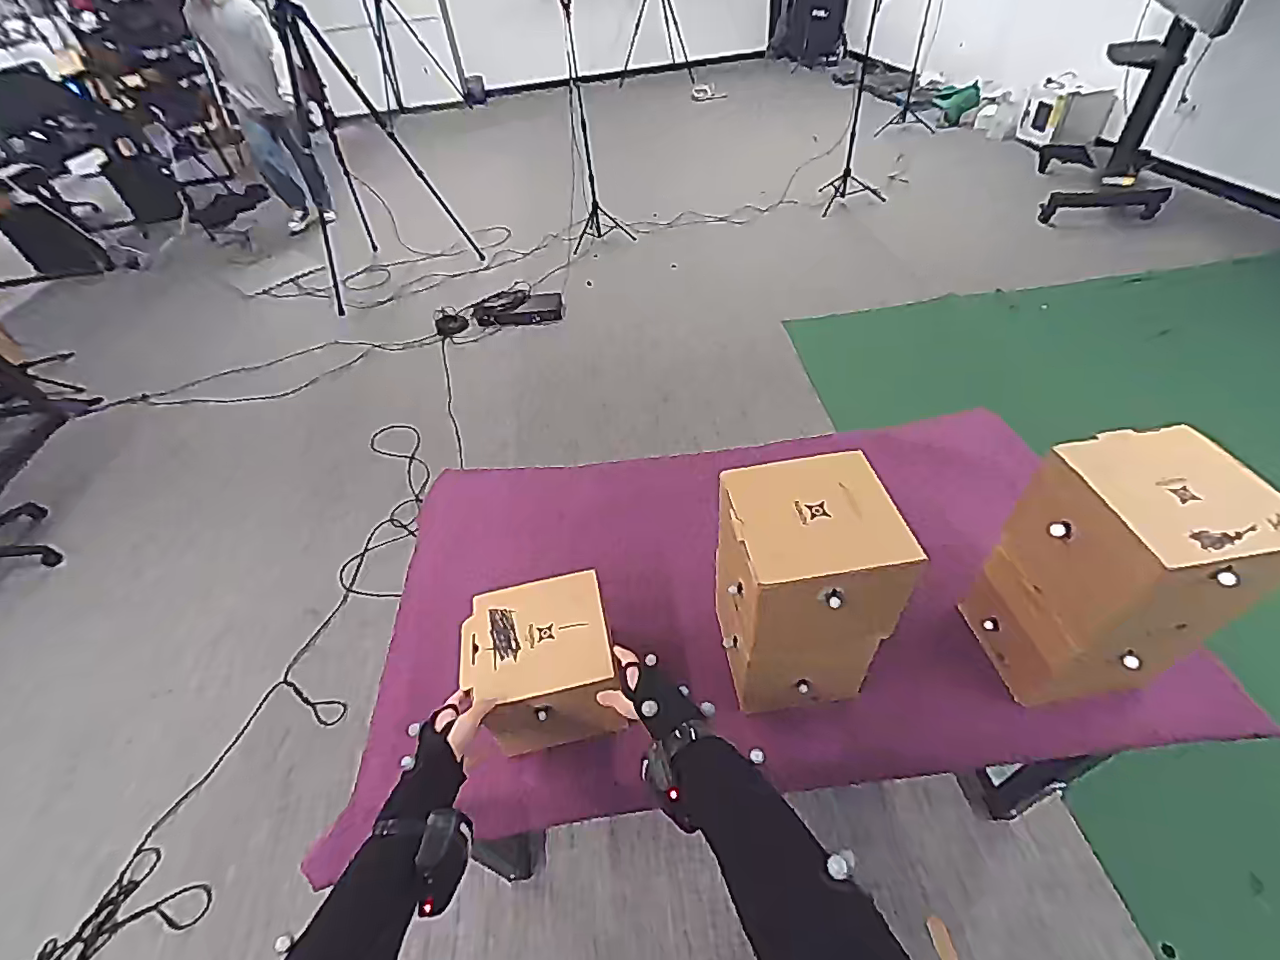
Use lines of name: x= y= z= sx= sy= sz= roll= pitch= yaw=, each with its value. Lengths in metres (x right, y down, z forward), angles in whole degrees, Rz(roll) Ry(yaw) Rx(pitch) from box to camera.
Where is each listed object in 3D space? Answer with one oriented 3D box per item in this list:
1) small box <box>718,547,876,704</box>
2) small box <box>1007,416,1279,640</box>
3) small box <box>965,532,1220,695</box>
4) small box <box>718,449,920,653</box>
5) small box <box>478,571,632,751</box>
small box: x=0.210 y=0.201 z=0.770 sx=0.168 sy=0.176 sz=0.179 roll=-9 pitch=44 yaw=0
small box: x=0.571 y=0.056 z=0.621 sx=0.168 sy=0.176 sz=0.179 roll=-11 pitch=45 yaw=1
small box: x=0.589 y=0.171 z=0.737 sx=0.179 sy=0.176 sz=0.168 roll=-11 pitch=46 yaw=0
small box: x=0.198 y=0.089 z=0.651 sx=0.179 sy=0.176 sz=0.168 roll=-9 pitch=46 yaw=0
small box: x=-0.118 y=0.260 z=0.767 sx=0.179 sy=0.176 sz=0.168 roll=-13 pitch=46 yaw=-4
